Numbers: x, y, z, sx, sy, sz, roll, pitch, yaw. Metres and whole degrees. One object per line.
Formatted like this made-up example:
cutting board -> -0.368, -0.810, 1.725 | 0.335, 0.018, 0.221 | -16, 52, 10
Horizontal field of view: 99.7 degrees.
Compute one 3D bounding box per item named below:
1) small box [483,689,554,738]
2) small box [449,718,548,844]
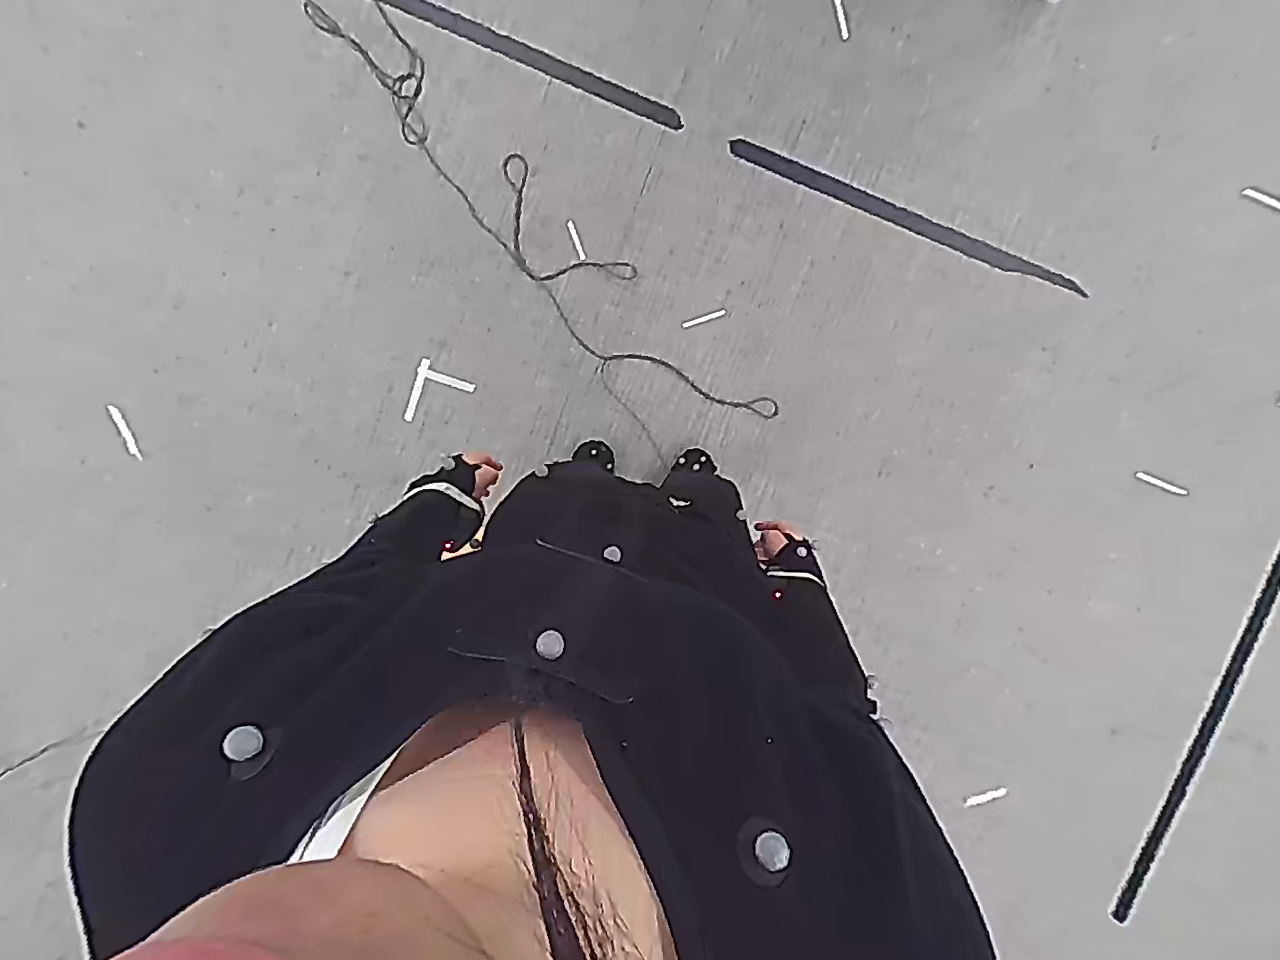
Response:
small box -> -0.329, 0.679, 1.425 | 0.168, 0.176, 0.179 | 14, 93, -2
small box -> -0.321, 0.694, 1.261 | 0.168, 0.176, 0.179 | 16, 93, -4
